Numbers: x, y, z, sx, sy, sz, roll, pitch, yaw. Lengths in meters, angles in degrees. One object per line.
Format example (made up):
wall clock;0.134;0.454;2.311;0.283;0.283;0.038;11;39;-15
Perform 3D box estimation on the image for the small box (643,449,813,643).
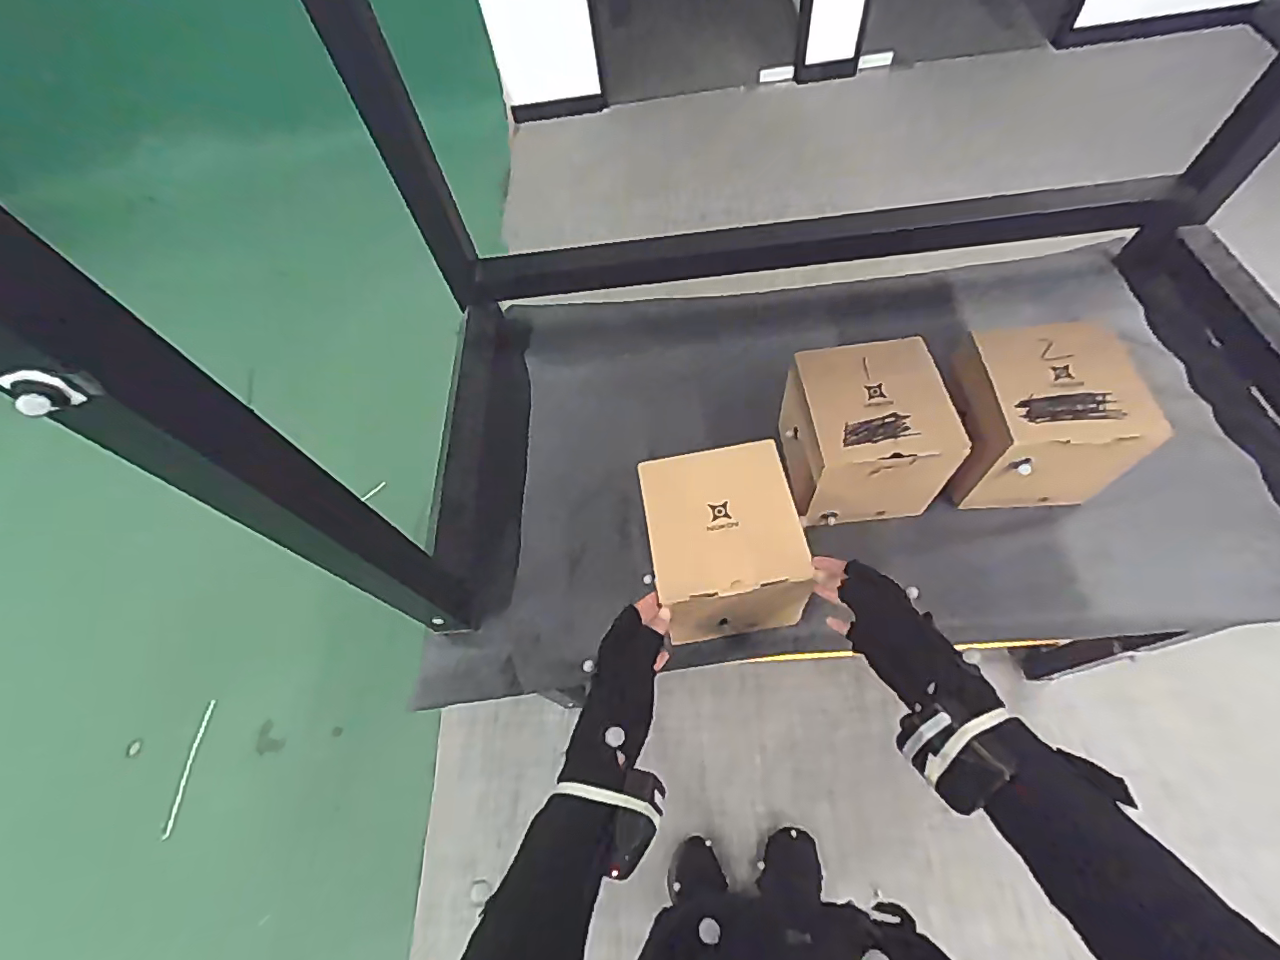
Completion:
small box;0.101;0.088;0.682;0.168;0.176;0.179;-10;58;2
